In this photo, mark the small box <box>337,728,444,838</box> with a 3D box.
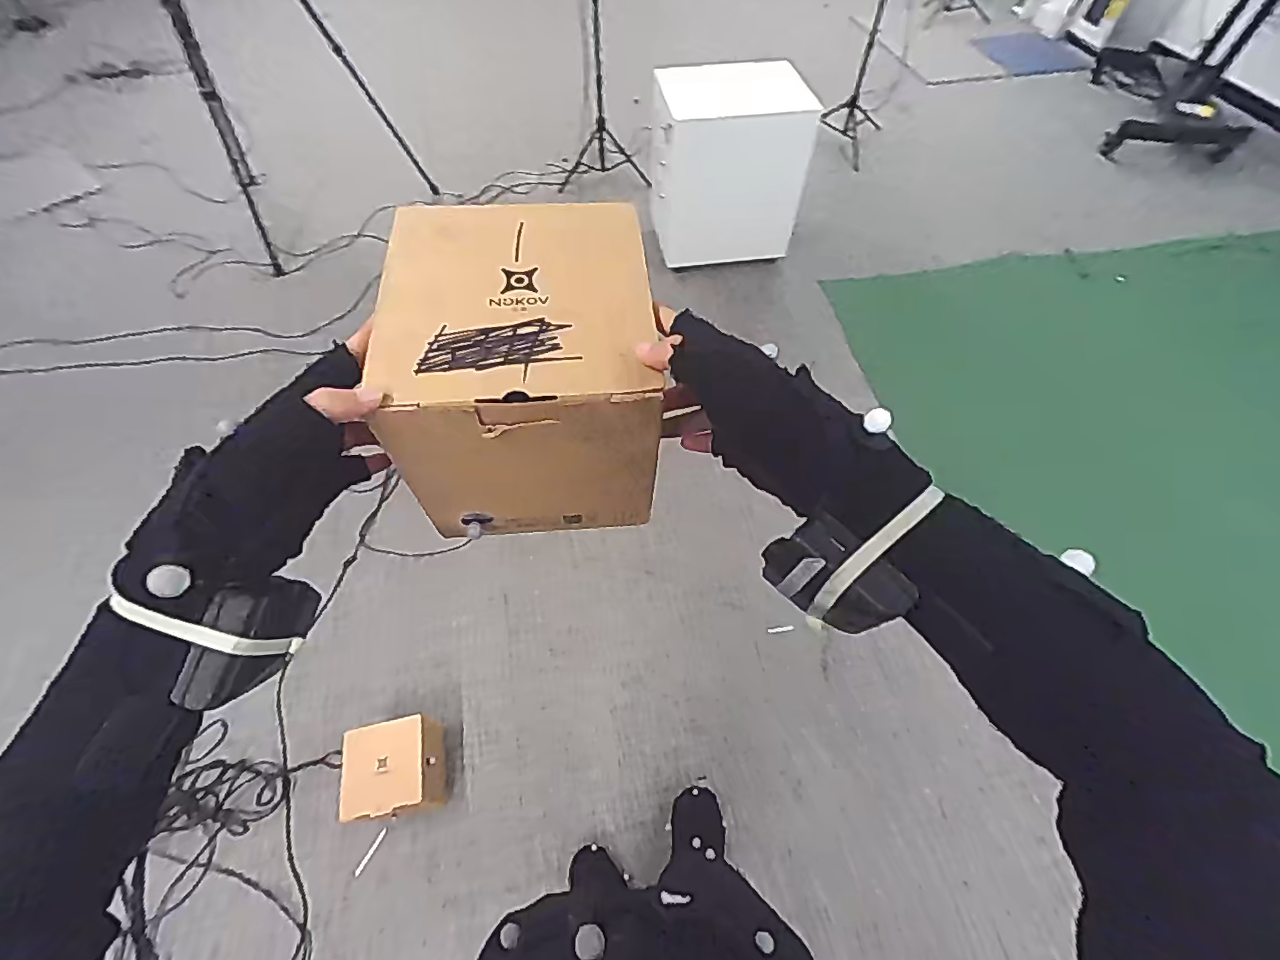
[{"bbox_3d":[-0.541,0.672,1.195,0.168,0.176,0.179,-11,57,-7],"label":"small box"}]

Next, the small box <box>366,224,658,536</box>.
[{"bbox_3d":[-0.077,-0.065,0.409,0.168,0.176,0.179,-2,58,-5],"label":"small box"}]
